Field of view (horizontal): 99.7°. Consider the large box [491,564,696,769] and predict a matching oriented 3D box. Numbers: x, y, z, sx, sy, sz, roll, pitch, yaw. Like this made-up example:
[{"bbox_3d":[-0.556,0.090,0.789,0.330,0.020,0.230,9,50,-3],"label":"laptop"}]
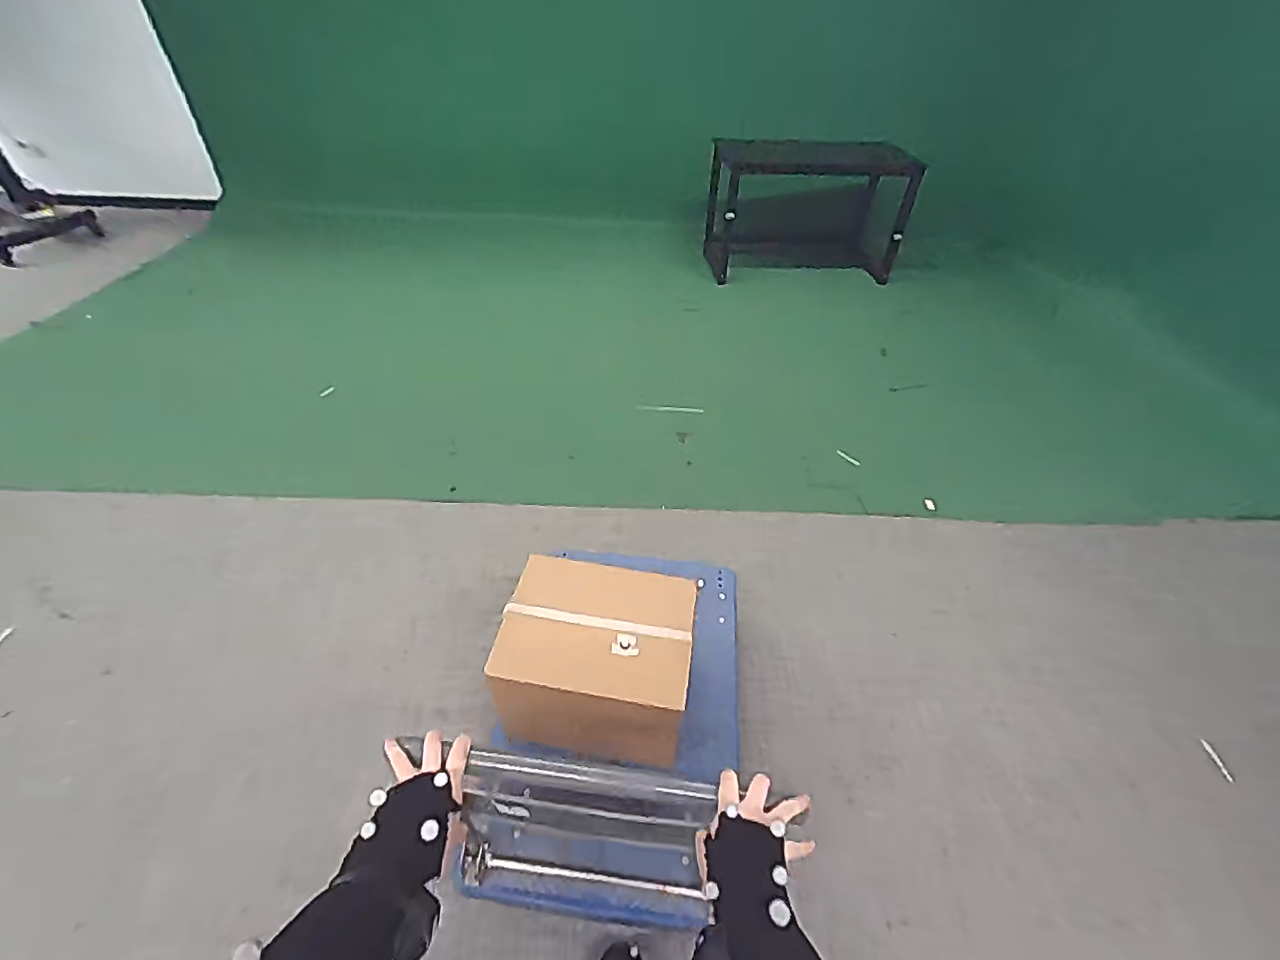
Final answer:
[{"bbox_3d":[-0.095,0.438,1.278,0.408,0.320,0.320,9,42,4],"label":"large box"}]
